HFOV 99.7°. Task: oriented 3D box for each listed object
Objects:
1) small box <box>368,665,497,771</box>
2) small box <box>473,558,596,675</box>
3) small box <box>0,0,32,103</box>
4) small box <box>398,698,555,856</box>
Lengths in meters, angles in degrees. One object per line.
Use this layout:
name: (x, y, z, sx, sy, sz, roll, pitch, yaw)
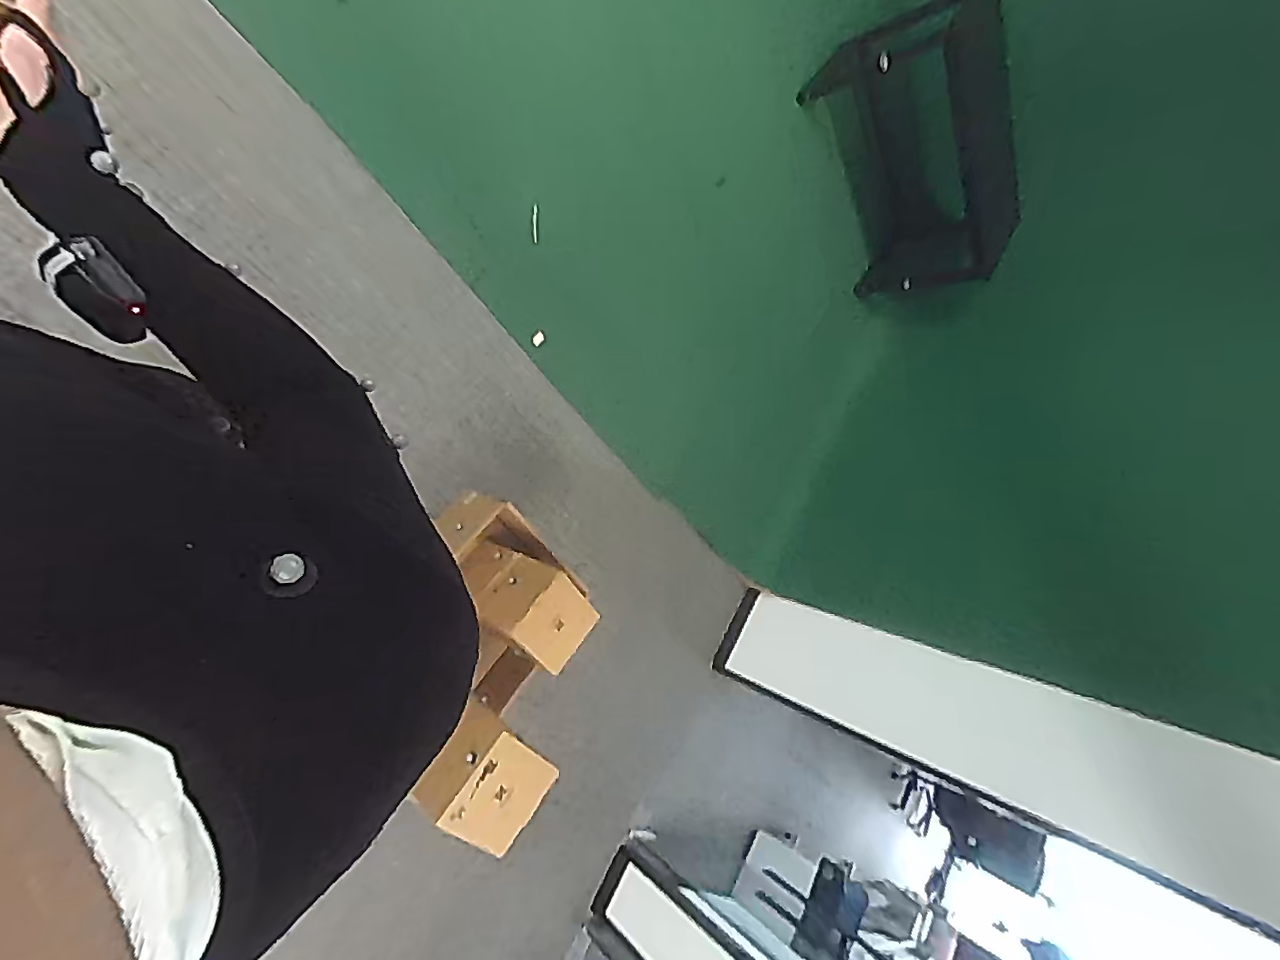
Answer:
small box: (-0.408, 0.506, 1.097, 0.168, 0.176, 0.179, -51, 128, -25)
small box: (-0.239, 0.301, 1.224, 0.168, 0.176, 0.179, -50, 128, -25)
small box: (-0.565, -0.421, 0.379, 0.168, 0.176, 0.179, -5, 95, -42)
small box: (-0.296, 0.528, 0.980, 0.168, 0.176, 0.179, -52, 129, -26)
